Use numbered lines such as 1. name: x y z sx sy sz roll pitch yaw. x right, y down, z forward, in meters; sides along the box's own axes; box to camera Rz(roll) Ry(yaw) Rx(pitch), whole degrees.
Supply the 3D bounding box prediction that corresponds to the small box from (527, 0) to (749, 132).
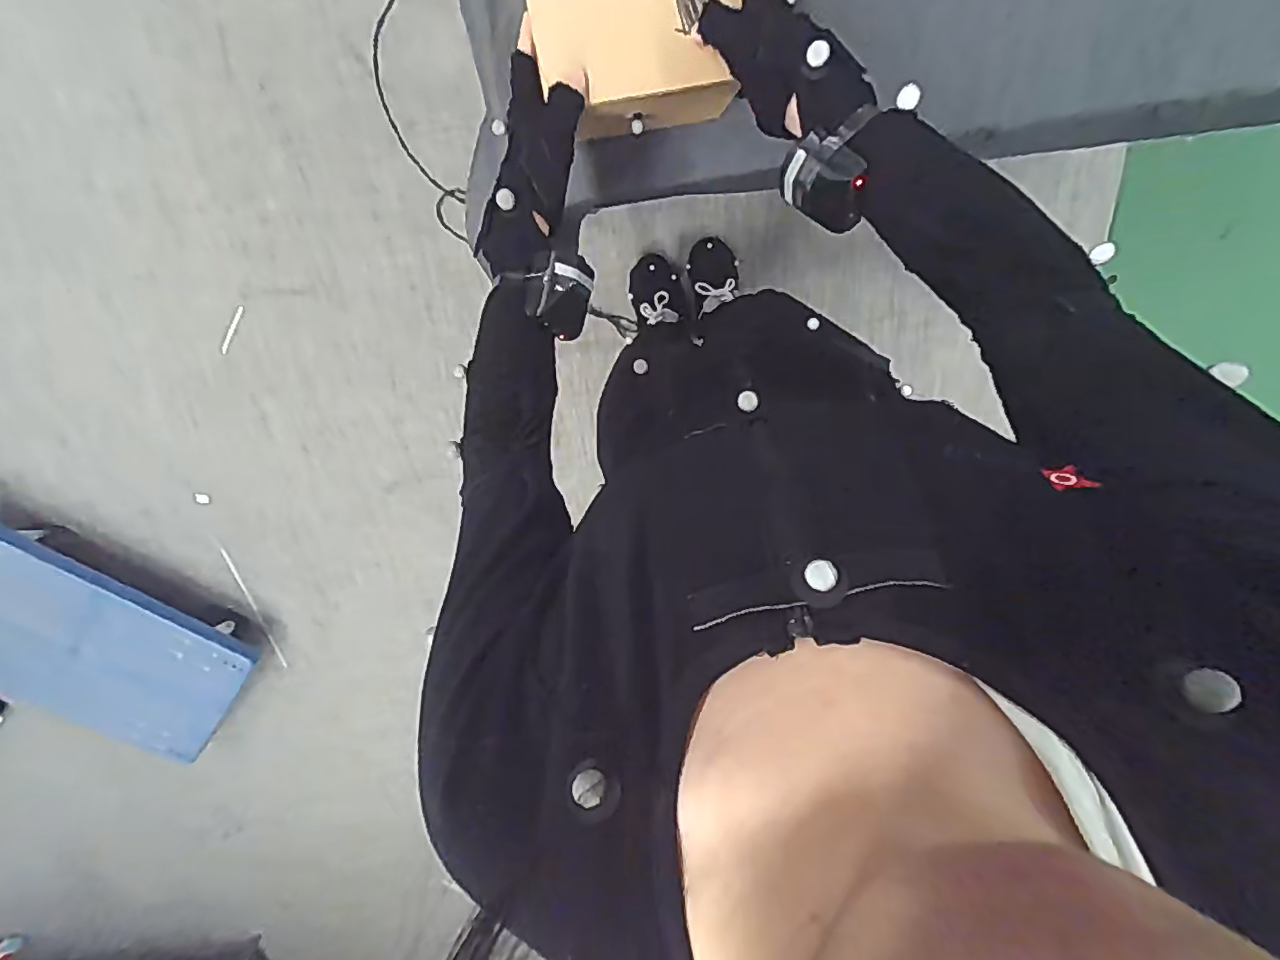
1. small box: -0.007 -0.436 0.493 0.179 0.176 0.168 -8 114 3
